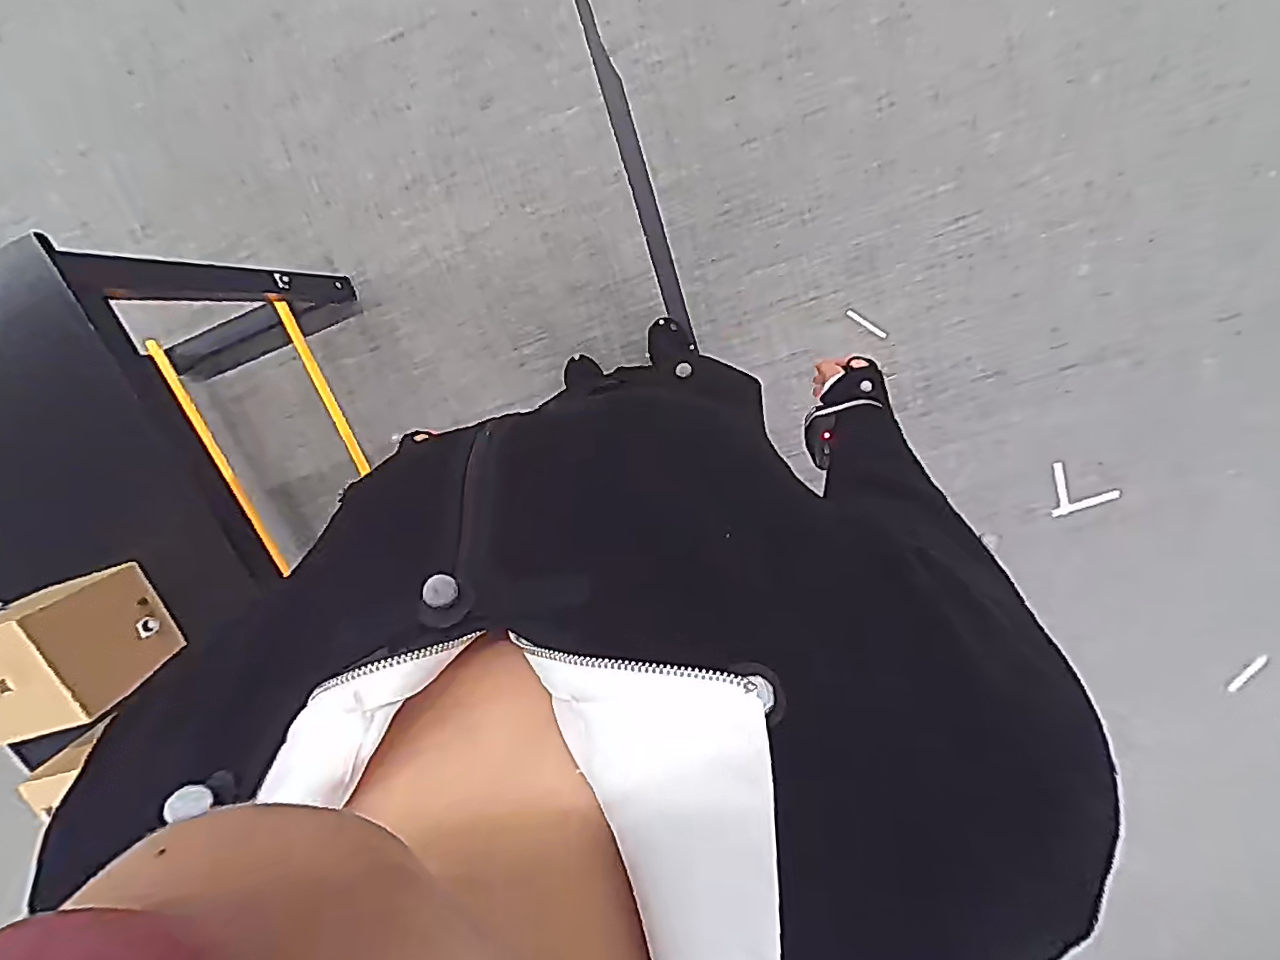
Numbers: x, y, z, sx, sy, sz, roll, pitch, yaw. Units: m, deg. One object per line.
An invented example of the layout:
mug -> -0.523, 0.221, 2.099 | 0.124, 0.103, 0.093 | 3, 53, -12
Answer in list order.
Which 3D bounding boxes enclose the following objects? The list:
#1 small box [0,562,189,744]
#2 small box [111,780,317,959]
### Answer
small box -> -0.831, 0.245, 0.789 | 0.179, 0.176, 0.168 | -17, 107, 7
small box -> -0.690, 0.647, 0.902 | 0.168, 0.176, 0.179 | -20, 104, 8
